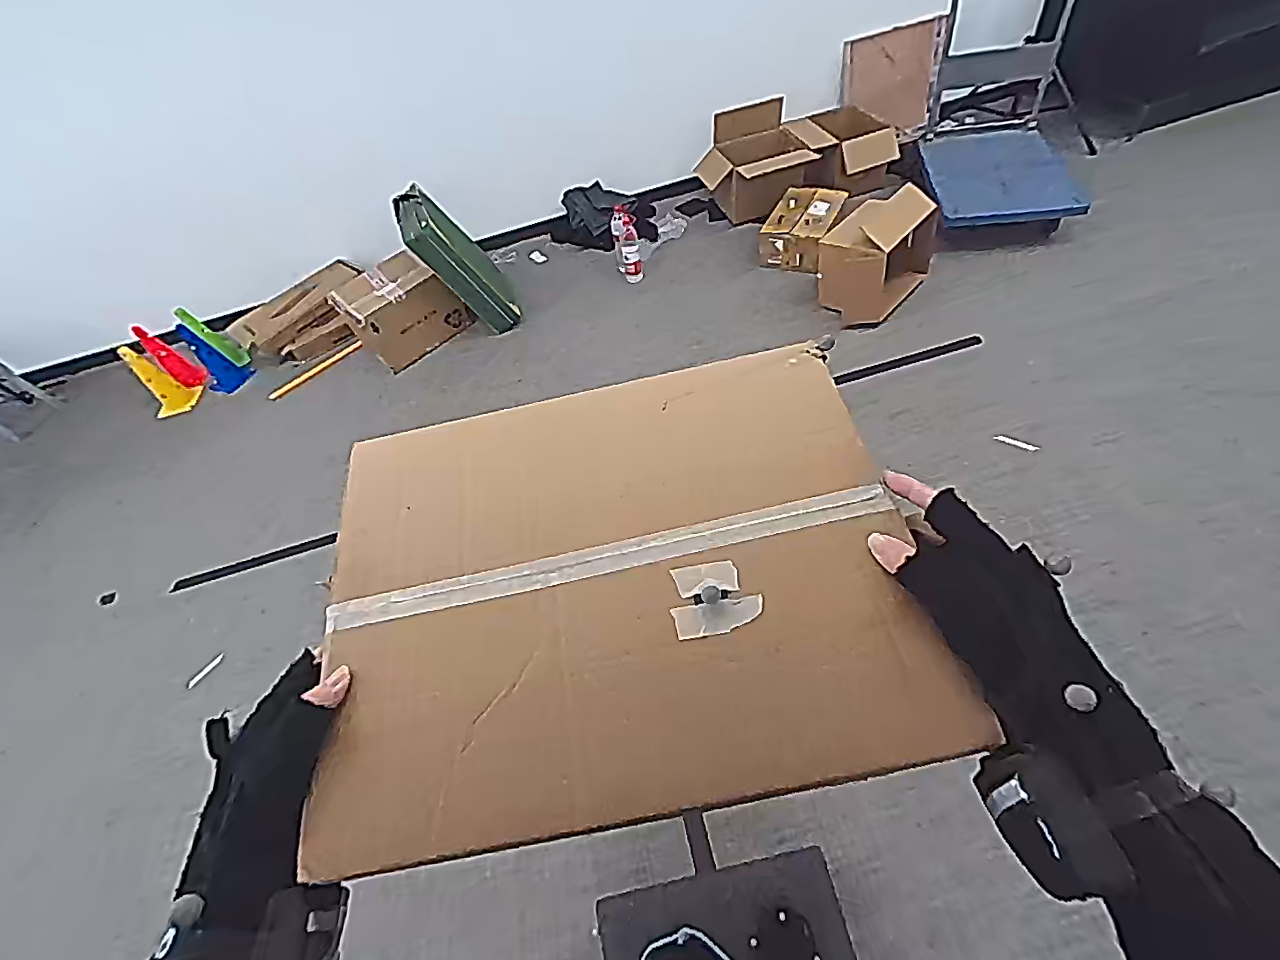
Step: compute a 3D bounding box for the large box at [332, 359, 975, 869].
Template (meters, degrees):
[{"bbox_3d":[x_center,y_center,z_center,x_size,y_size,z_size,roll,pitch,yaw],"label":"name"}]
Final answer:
[{"bbox_3d":[-0.001,0.139,0.524,0.408,0.320,0.320,-12,59,1],"label":"large box"}]
